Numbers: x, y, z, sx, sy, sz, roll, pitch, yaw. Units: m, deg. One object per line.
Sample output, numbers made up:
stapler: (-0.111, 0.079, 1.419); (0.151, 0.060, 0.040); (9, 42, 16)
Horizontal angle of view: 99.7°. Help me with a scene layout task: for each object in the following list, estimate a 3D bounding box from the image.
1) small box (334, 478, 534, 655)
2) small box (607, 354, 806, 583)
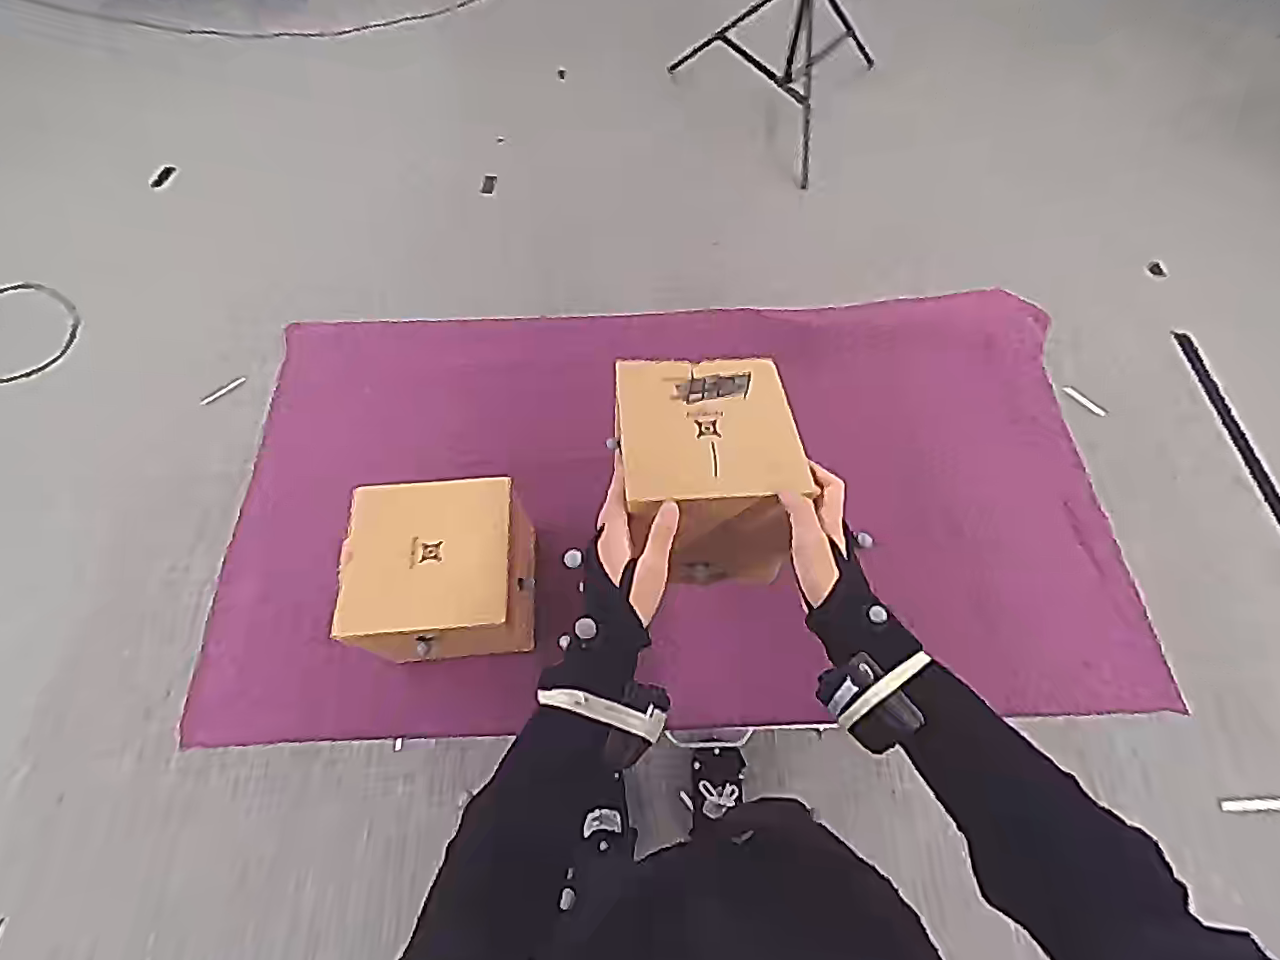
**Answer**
small box: (-0.225, 0.109, 0.647); (0.179, 0.176, 0.168); (-4, 65, -1)
small box: (0.050, -0.010, 0.563); (0.168, 0.176, 0.179); (-3, 55, -5)
